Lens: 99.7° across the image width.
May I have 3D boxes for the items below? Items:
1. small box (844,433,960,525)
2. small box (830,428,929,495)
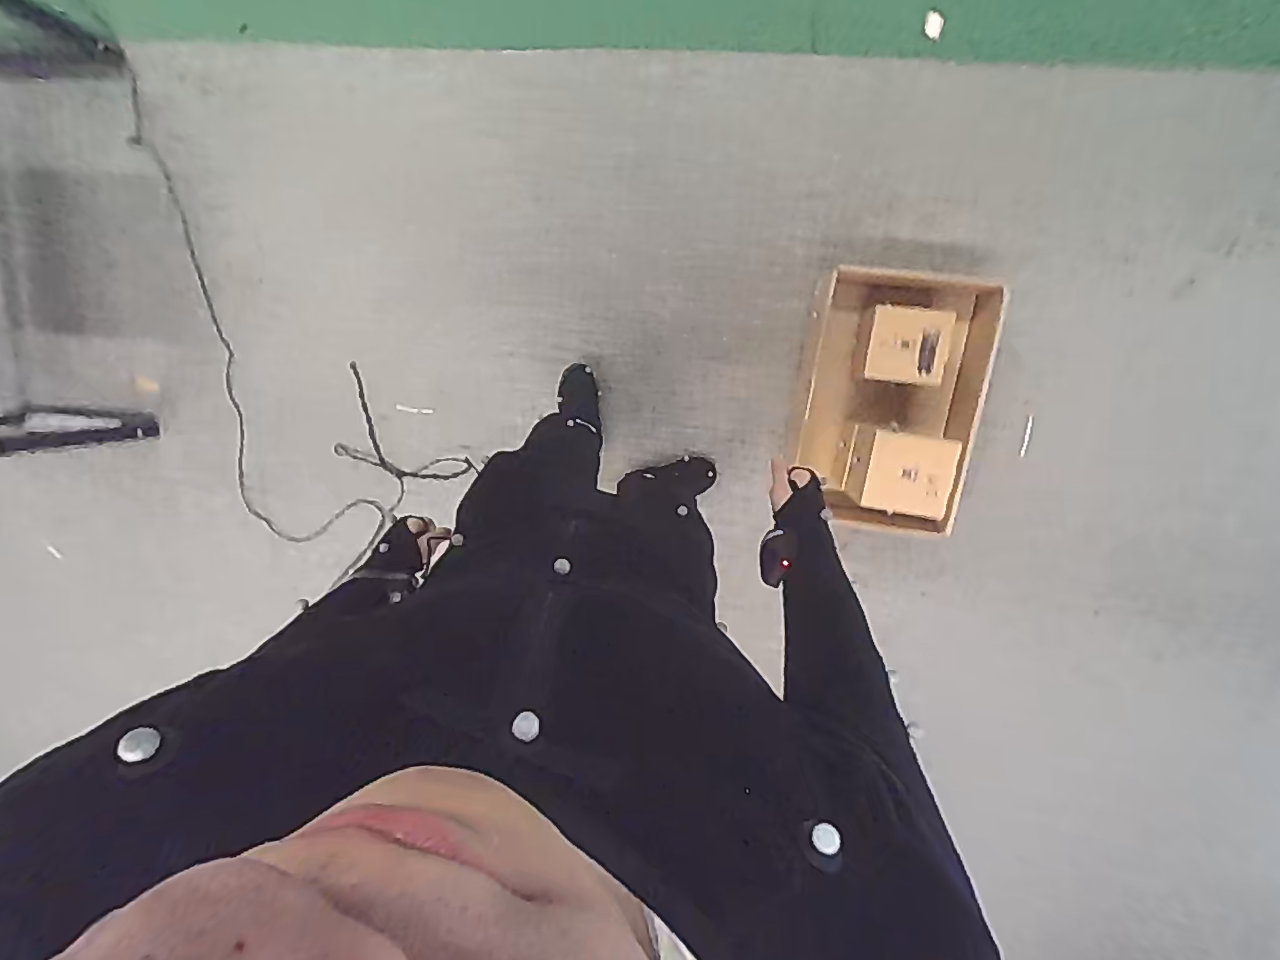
[{"bbox_3d":[0.580,-0.010,1.224,0.179,0.176,0.168,10,101,7],"label":"small box"},{"bbox_3d":[0.602,-0.039,1.385,0.179,0.176,0.168,10,101,7],"label":"small box"}]
